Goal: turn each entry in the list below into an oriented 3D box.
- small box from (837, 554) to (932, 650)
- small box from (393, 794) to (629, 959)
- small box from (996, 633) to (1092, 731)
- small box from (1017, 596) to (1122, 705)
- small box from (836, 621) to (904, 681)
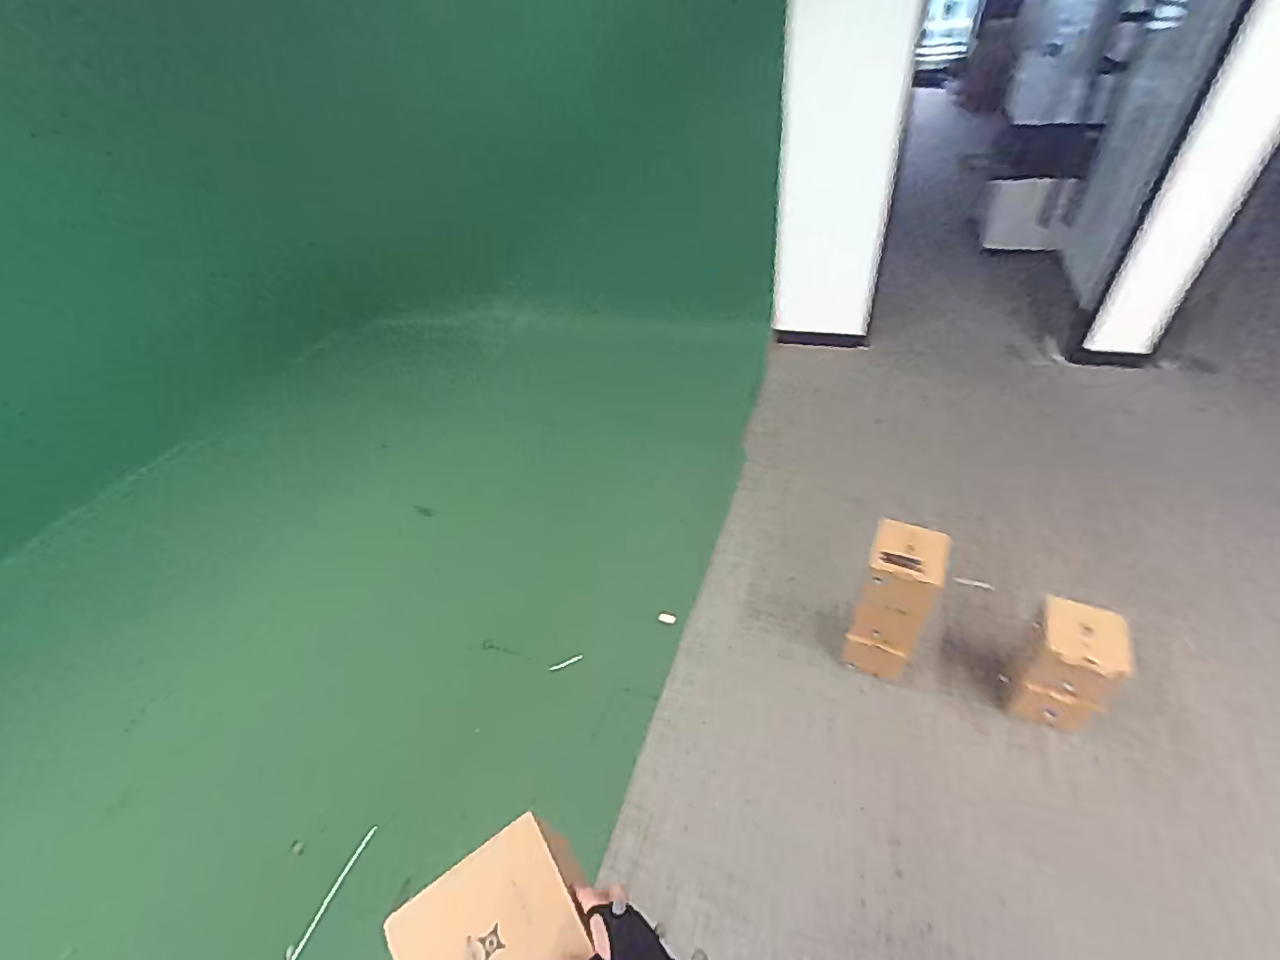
[{"bbox_3d":[0.690,0.354,1.549,0.168,0.176,0.179,-29,47,-17],"label":"small box"},{"bbox_3d":[-0.132,0.491,0.588,0.179,0.176,0.168,-29,48,-16],"label":"small box"},{"bbox_3d":[1.104,0.560,1.491,0.168,0.176,0.179,12,48,21],"label":"small box"},{"bbox_3d":[1.089,0.435,1.384,0.168,0.176,0.179,15,49,25],"label":"small box"},{"bbox_3d":[0.702,0.477,1.643,0.168,0.176,0.179,15,48,22],"label":"small box"}]
